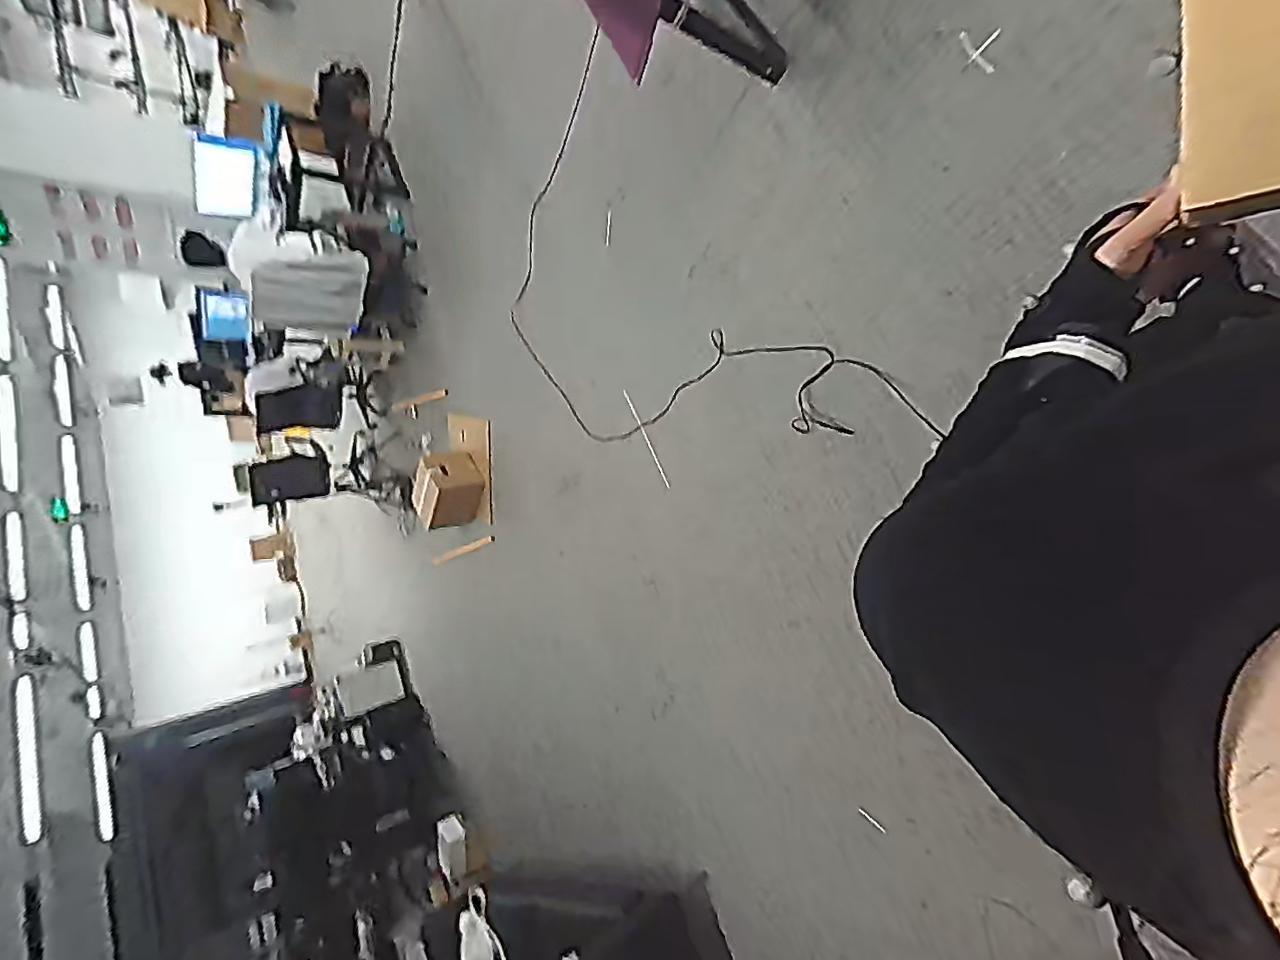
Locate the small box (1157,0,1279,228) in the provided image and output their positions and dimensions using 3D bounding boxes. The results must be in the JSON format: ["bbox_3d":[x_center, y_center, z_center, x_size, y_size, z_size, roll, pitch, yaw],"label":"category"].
[{"bbox_3d":[0.433,-0.266,0.324,0.179,0.176,0.168,-1,104,44],"label":"small box"}]
